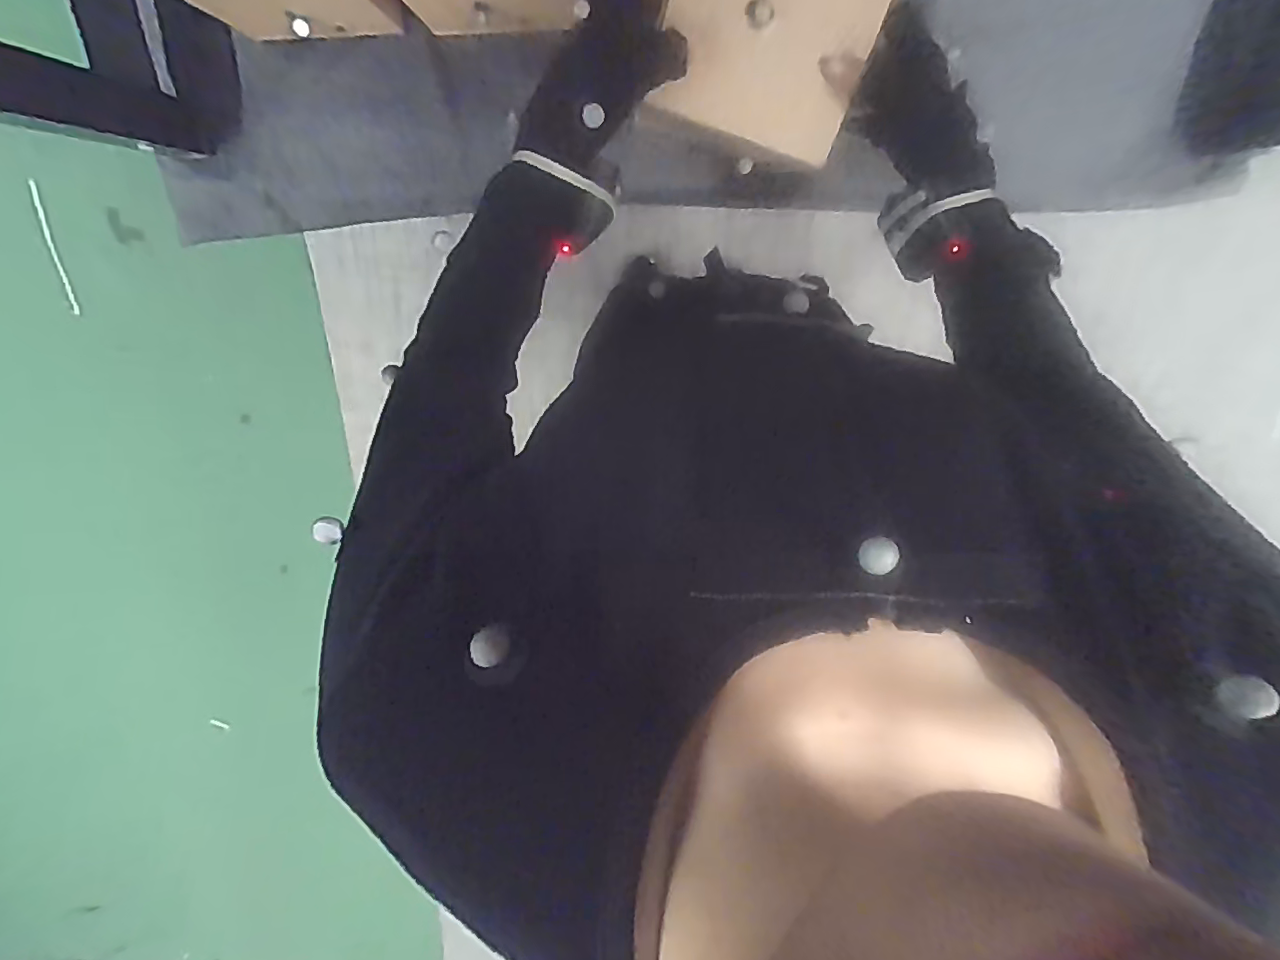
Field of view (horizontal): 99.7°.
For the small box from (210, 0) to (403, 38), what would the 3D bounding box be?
[{"bbox_3d":[-0.329,-0.520,0.463,0.168,0.176,0.179,0,112,3],"label":"small box"}]
